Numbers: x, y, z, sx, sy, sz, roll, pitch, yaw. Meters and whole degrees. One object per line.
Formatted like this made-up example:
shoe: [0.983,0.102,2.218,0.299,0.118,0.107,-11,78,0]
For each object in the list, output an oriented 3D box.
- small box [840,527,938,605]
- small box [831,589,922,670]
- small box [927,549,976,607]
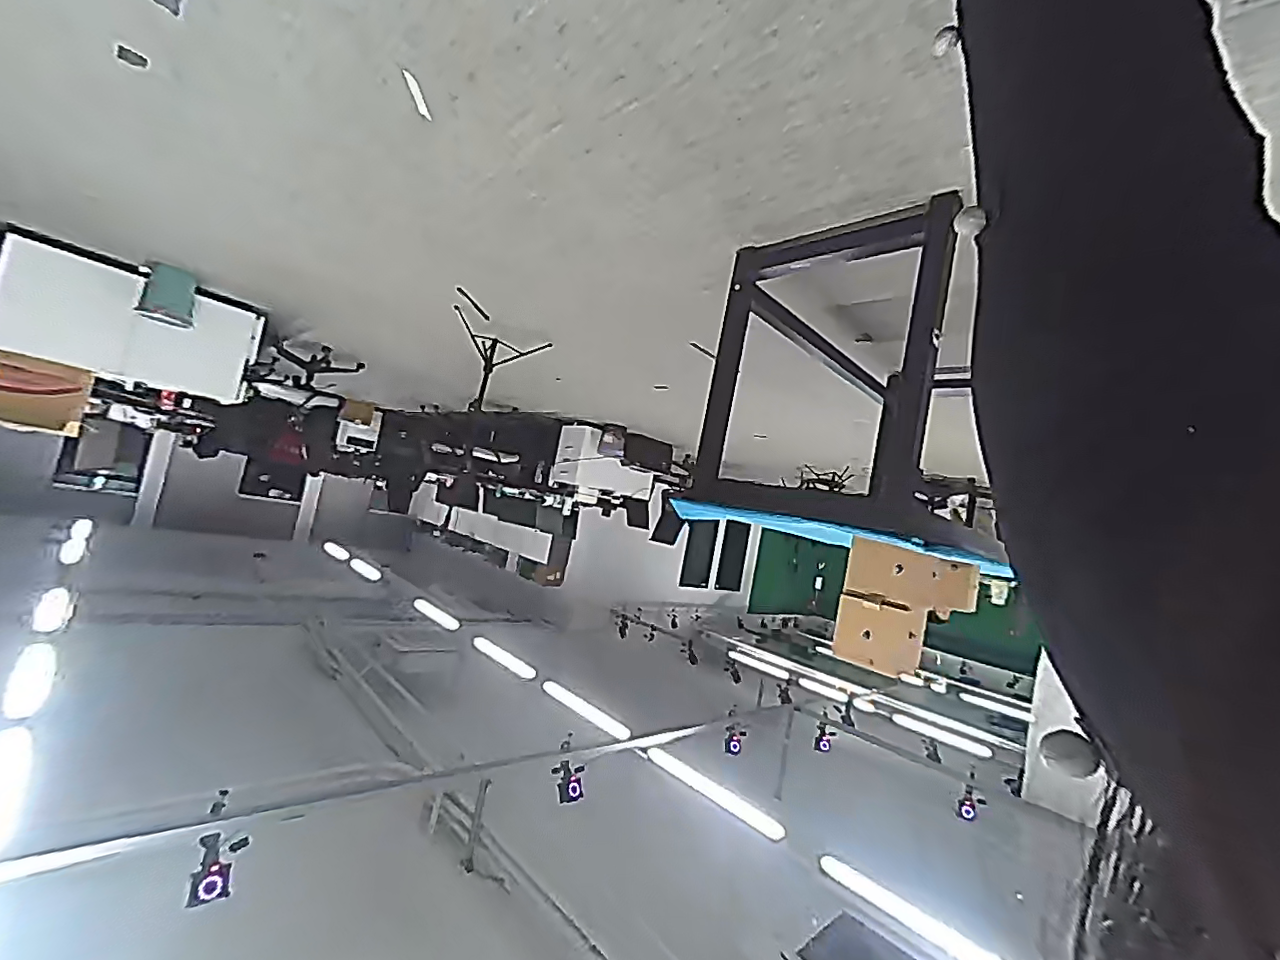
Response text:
small box: [0.659,0.229,1.433,0.168,0.176,0.179,14,175,-43]
small box: [0.619,0.388,1.423,0.168,0.176,0.179,10,179,45]
small box: [0.976,0.315,1.769,0.179,0.176,0.168,7,174,41]
